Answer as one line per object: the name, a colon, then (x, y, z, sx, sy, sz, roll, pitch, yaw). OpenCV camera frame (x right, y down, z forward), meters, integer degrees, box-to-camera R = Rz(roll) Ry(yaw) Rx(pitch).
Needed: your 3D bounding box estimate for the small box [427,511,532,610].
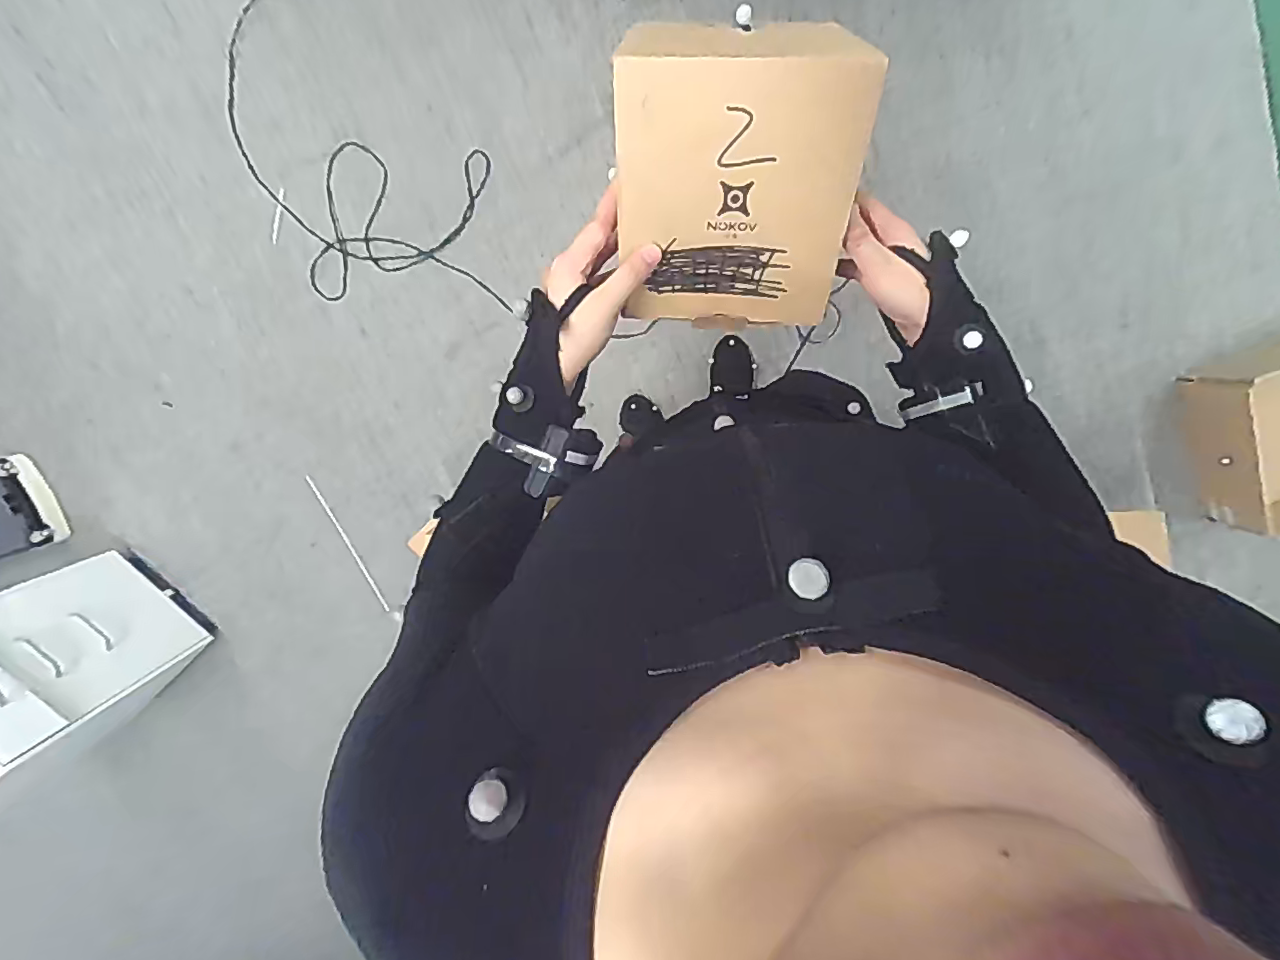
small box: (-0.337, 0.169, 1.175, 0.179, 0.176, 0.168, -1, 104, 3)
